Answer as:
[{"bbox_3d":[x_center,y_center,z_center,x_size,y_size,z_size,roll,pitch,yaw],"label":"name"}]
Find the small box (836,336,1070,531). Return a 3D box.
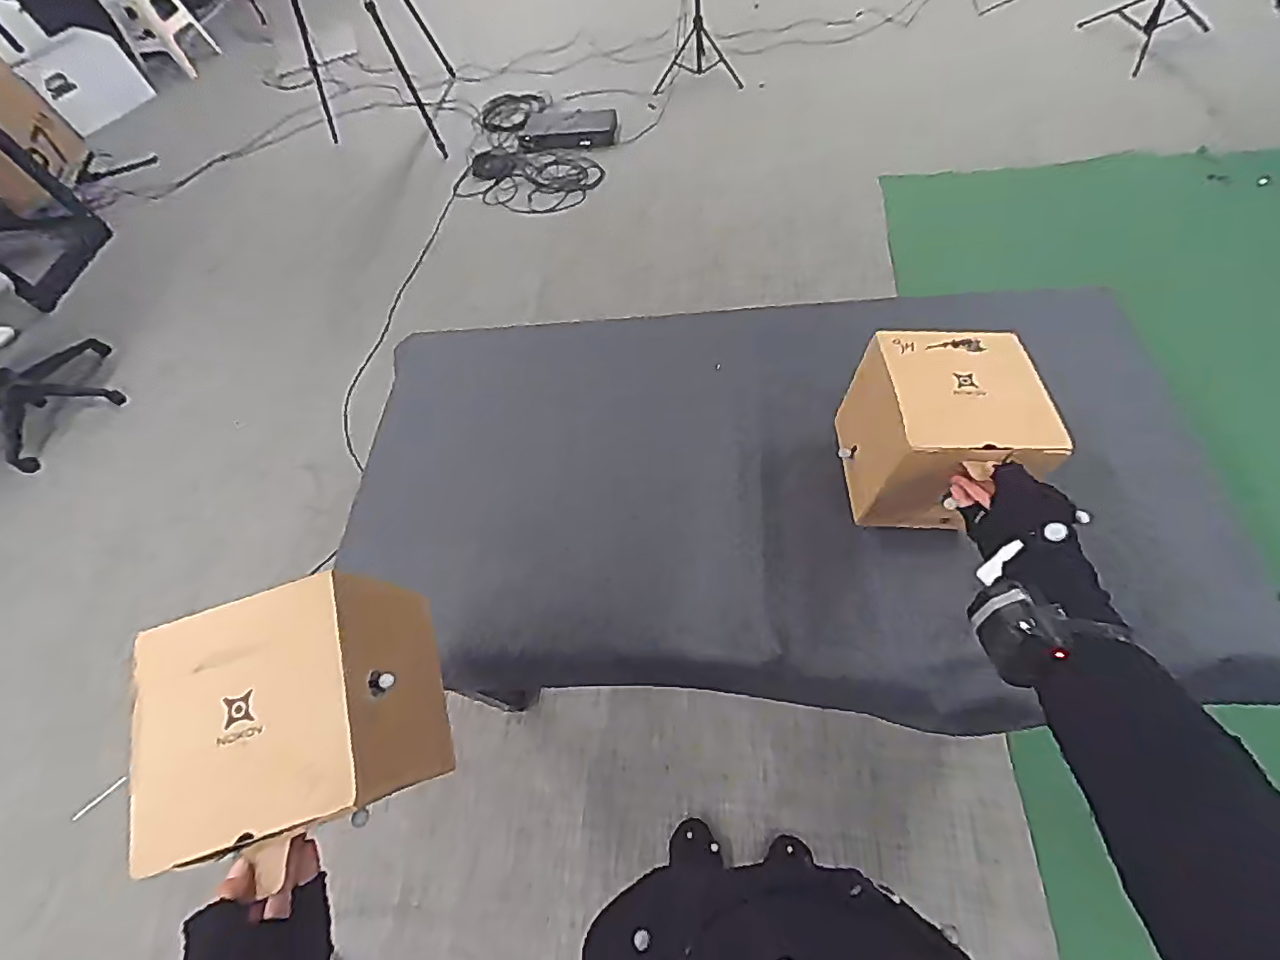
[{"bbox_3d":[0.354,-0.050,0.654,0.168,0.176,0.179,2,58,0],"label":"small box"}]

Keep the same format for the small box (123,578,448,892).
[{"bbox_3d":[-0.285,0.203,0.468,0.168,0.176,0.179,-18,69,-2],"label":"small box"}]
